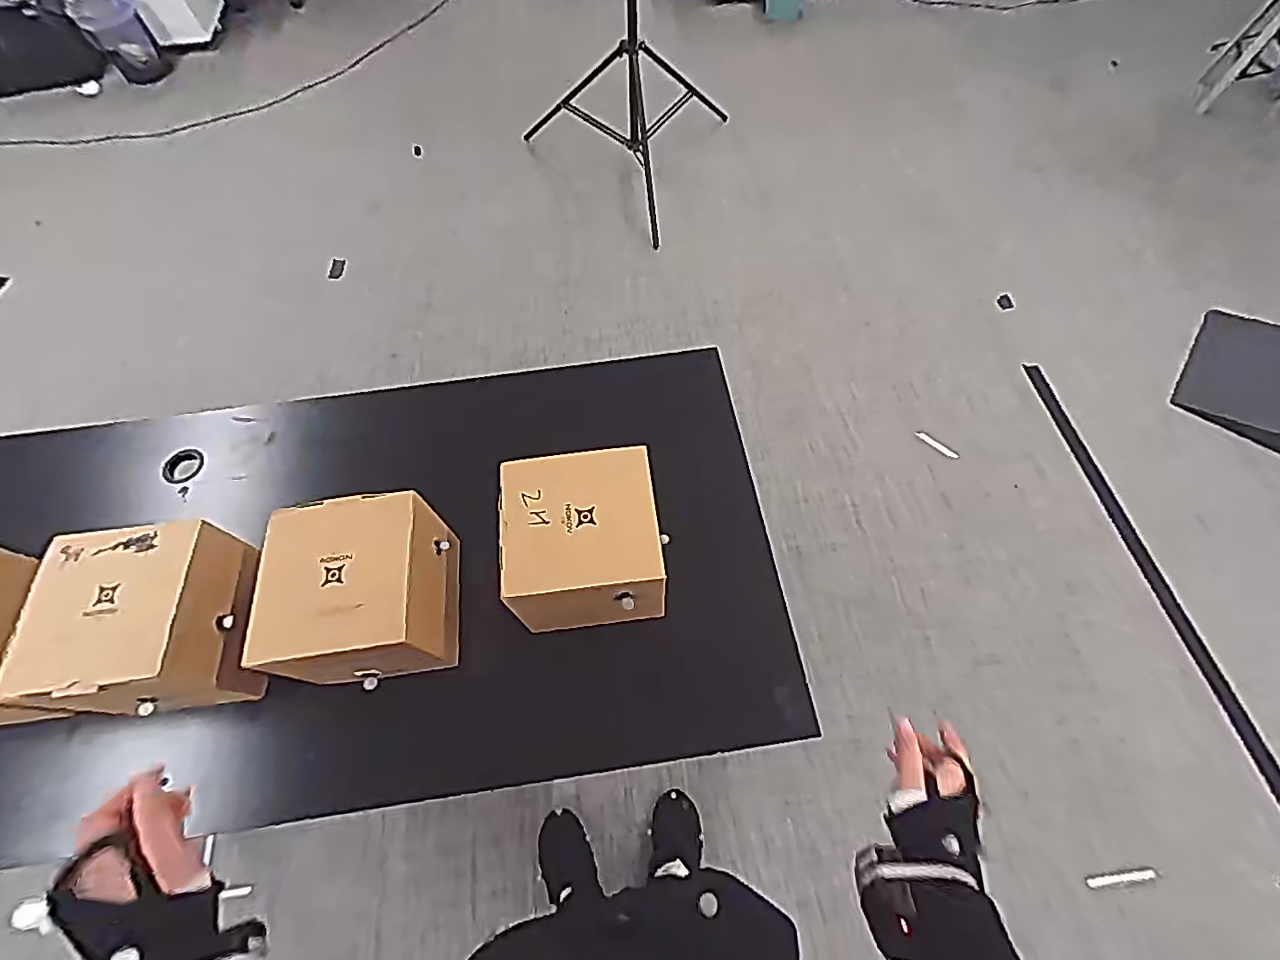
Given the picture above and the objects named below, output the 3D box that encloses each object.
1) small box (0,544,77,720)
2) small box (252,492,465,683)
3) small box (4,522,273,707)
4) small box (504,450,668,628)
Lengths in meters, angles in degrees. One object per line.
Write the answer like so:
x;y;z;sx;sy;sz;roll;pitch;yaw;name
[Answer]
-0.788;0.190;0.637;0.179;0.176;0.168;-7;63;-3;small box
-0.321;0.136;0.658;0.168;0.176;0.179;-9;64;-2;small box
-0.557;0.168;0.644;0.168;0.176;0.179;-7;63;-4;small box
-0.064;0.080;0.677;0.179;0.176;0.168;-6;63;-2;small box
